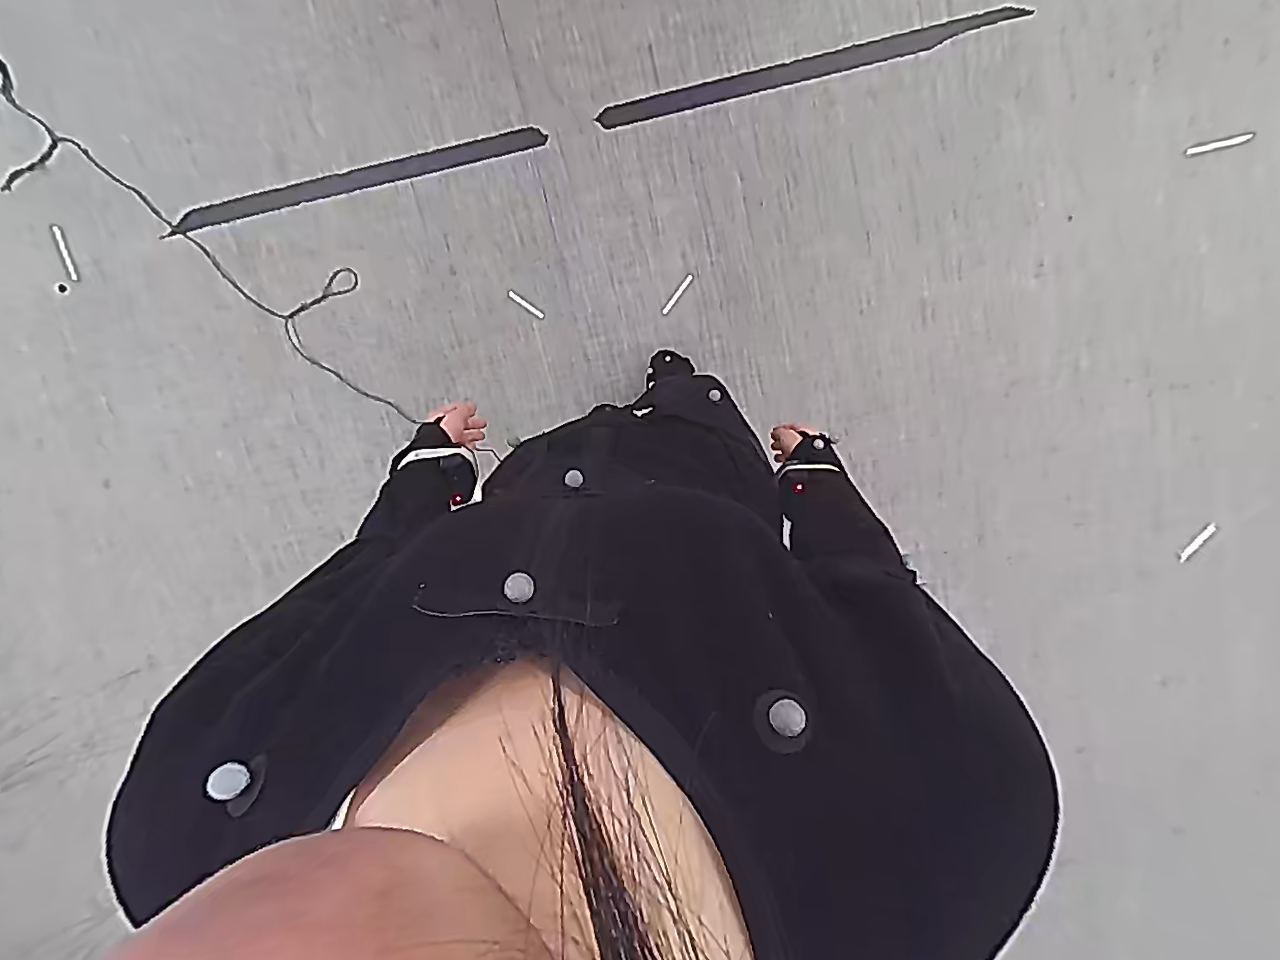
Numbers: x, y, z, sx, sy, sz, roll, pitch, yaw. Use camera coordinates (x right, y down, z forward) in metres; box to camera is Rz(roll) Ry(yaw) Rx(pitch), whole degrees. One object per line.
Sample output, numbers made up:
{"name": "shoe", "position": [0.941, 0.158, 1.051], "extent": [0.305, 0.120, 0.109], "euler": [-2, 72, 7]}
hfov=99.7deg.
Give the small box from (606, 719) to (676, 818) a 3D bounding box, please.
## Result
{"name": "small box", "position": [0.008, 0.833, 1.570], "extent": [0.168, 0.176, 0.179], "euler": [-14, 101, 4]}
